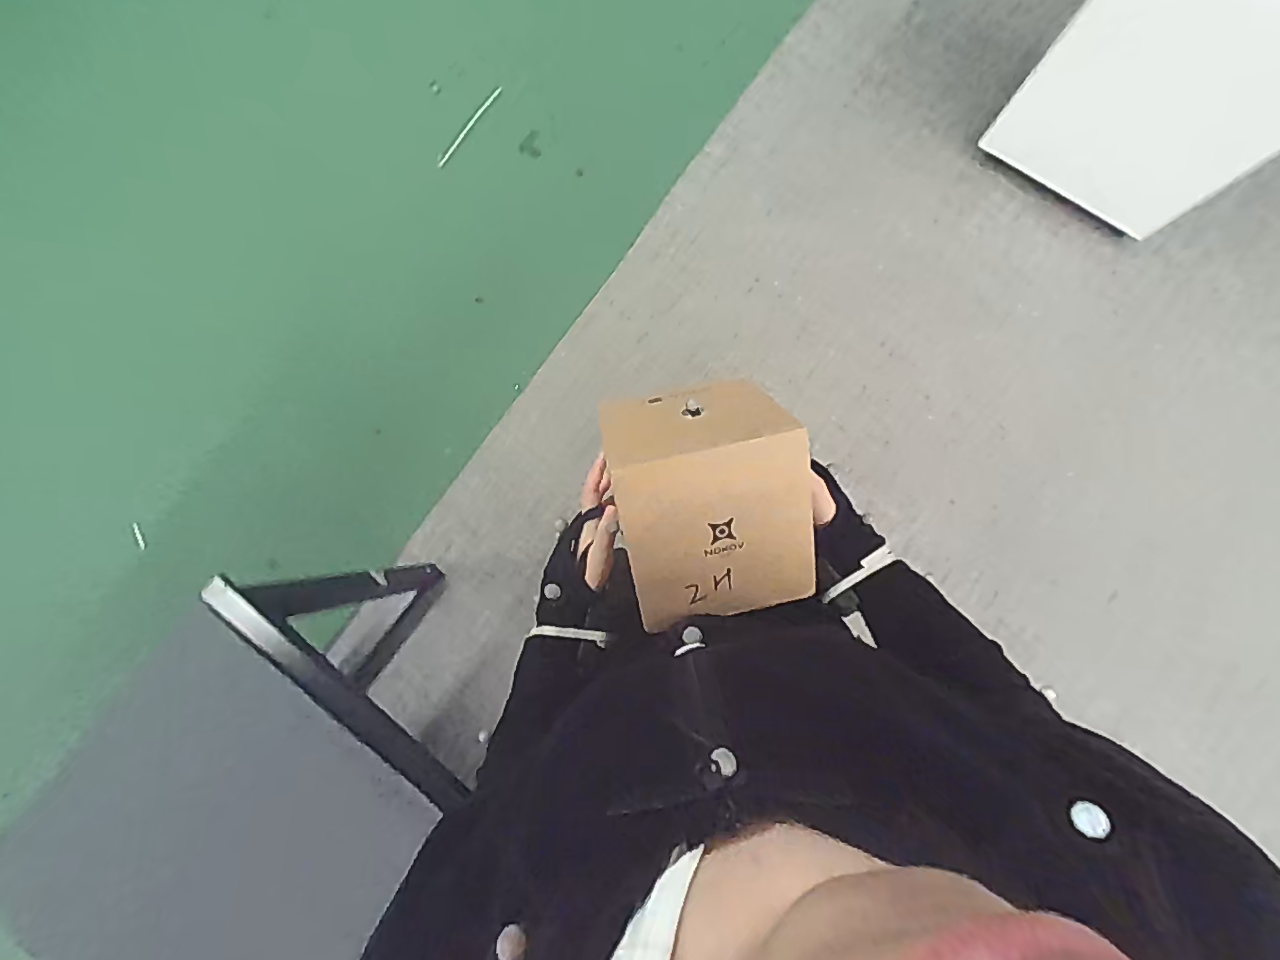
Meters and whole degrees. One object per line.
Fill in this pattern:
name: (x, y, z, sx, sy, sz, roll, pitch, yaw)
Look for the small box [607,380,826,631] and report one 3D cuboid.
small box: (0.066, 0.010, 0.523, 0.168, 0.176, 0.179, -12, 116, -2)
